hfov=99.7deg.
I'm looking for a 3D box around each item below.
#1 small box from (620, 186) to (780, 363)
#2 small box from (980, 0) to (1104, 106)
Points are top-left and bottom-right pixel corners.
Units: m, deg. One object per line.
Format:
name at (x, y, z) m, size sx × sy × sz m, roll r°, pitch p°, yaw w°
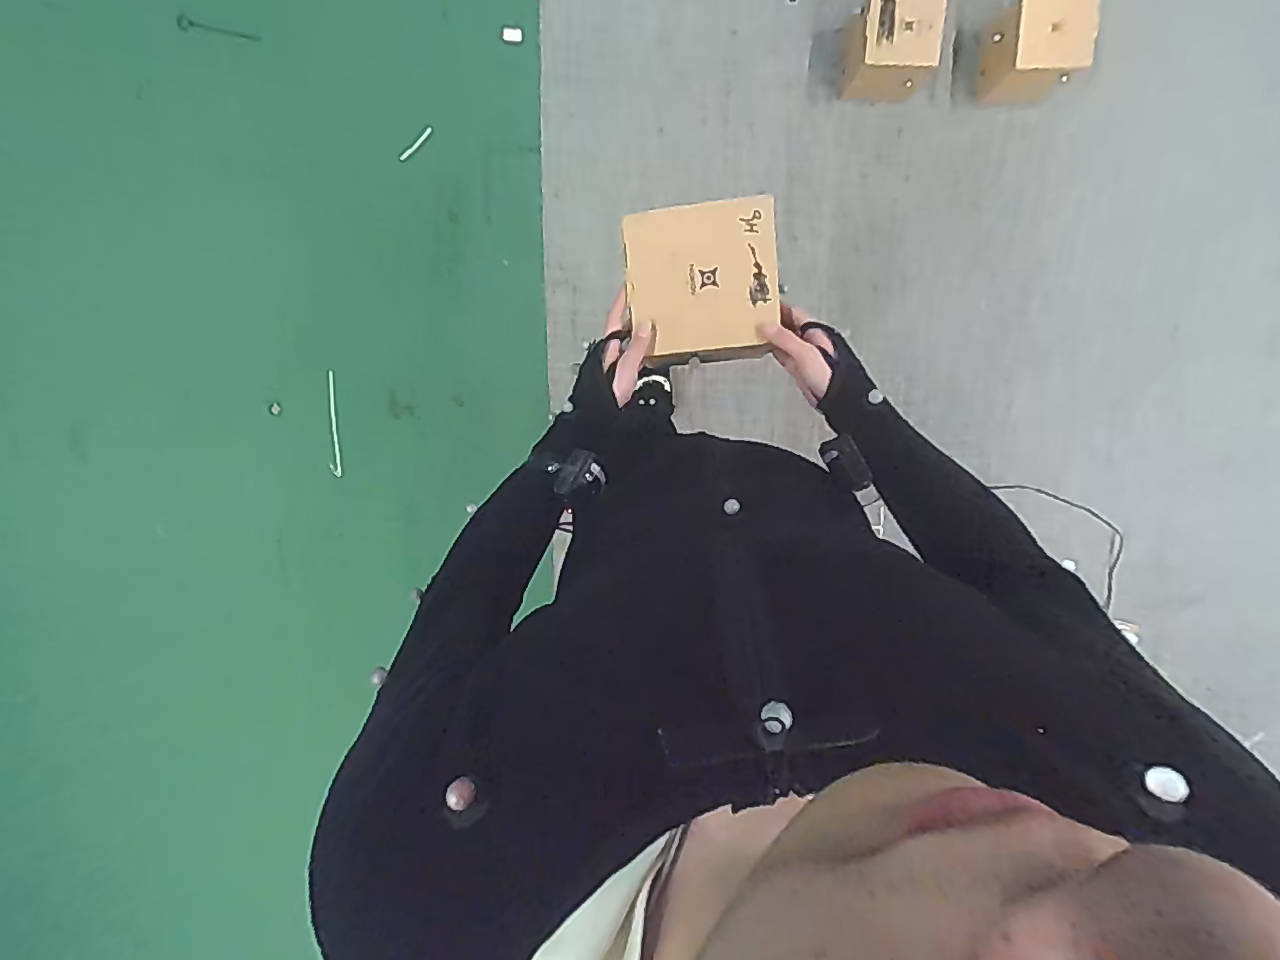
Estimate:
small box at (0.079, -0.246, 0.692) m, size 0.179 × 0.176 × 0.168 m, roll -3°, pitch 96°, yaw 8°
small box at (0.957, -1.032, 1.302) m, size 0.179 × 0.176 × 0.168 m, roll 0°, pitch 100°, yaw 1°
